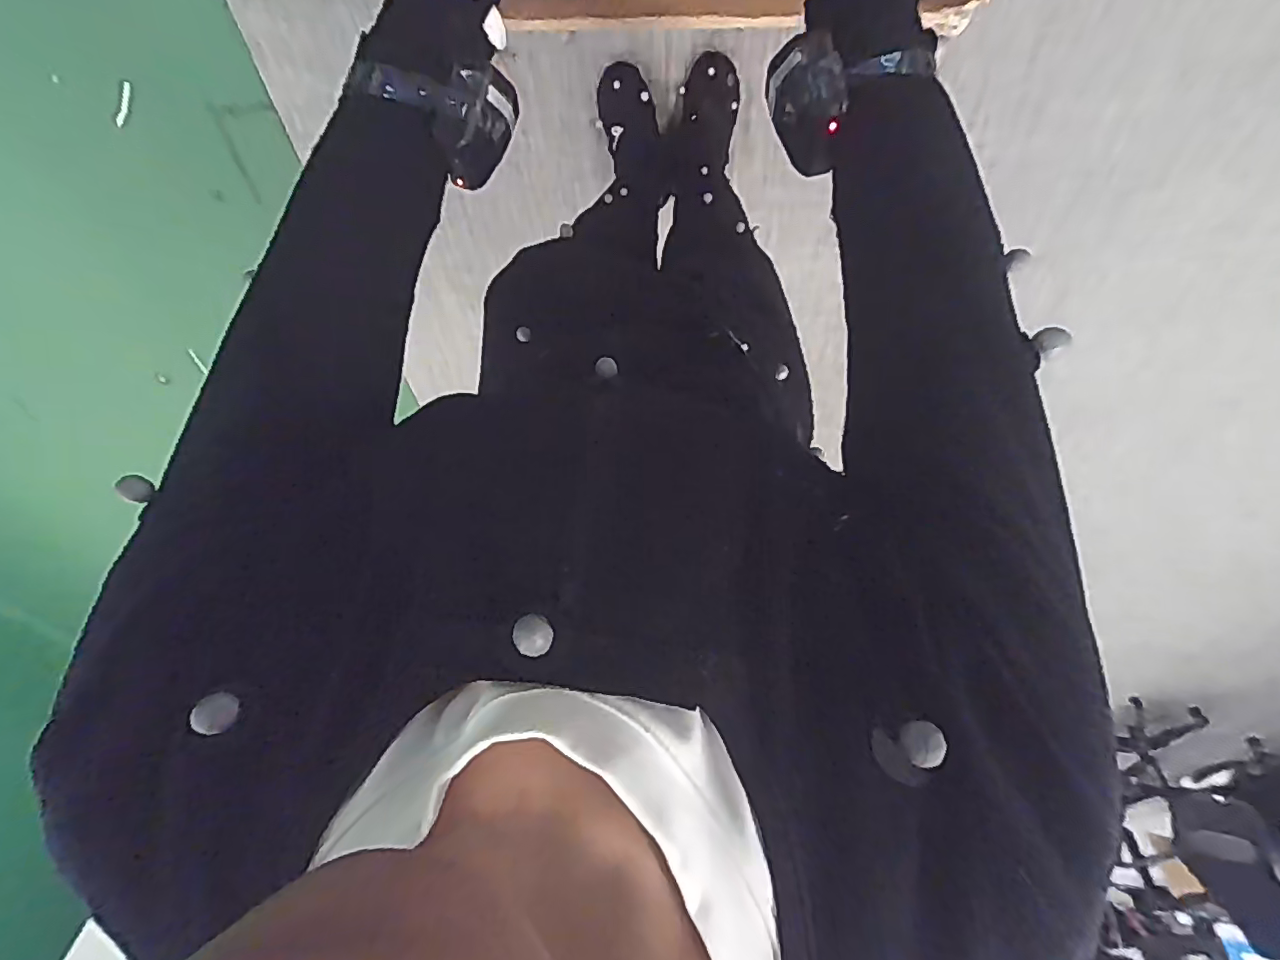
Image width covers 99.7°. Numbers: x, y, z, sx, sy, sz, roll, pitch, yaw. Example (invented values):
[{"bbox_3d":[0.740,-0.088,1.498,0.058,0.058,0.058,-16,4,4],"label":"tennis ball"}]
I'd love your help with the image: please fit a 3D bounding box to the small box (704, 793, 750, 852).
[{"bbox_3d":[0.346,1.360,2.149,0.179,0.176,0.168,-1,137,11],"label":"small box"}]
